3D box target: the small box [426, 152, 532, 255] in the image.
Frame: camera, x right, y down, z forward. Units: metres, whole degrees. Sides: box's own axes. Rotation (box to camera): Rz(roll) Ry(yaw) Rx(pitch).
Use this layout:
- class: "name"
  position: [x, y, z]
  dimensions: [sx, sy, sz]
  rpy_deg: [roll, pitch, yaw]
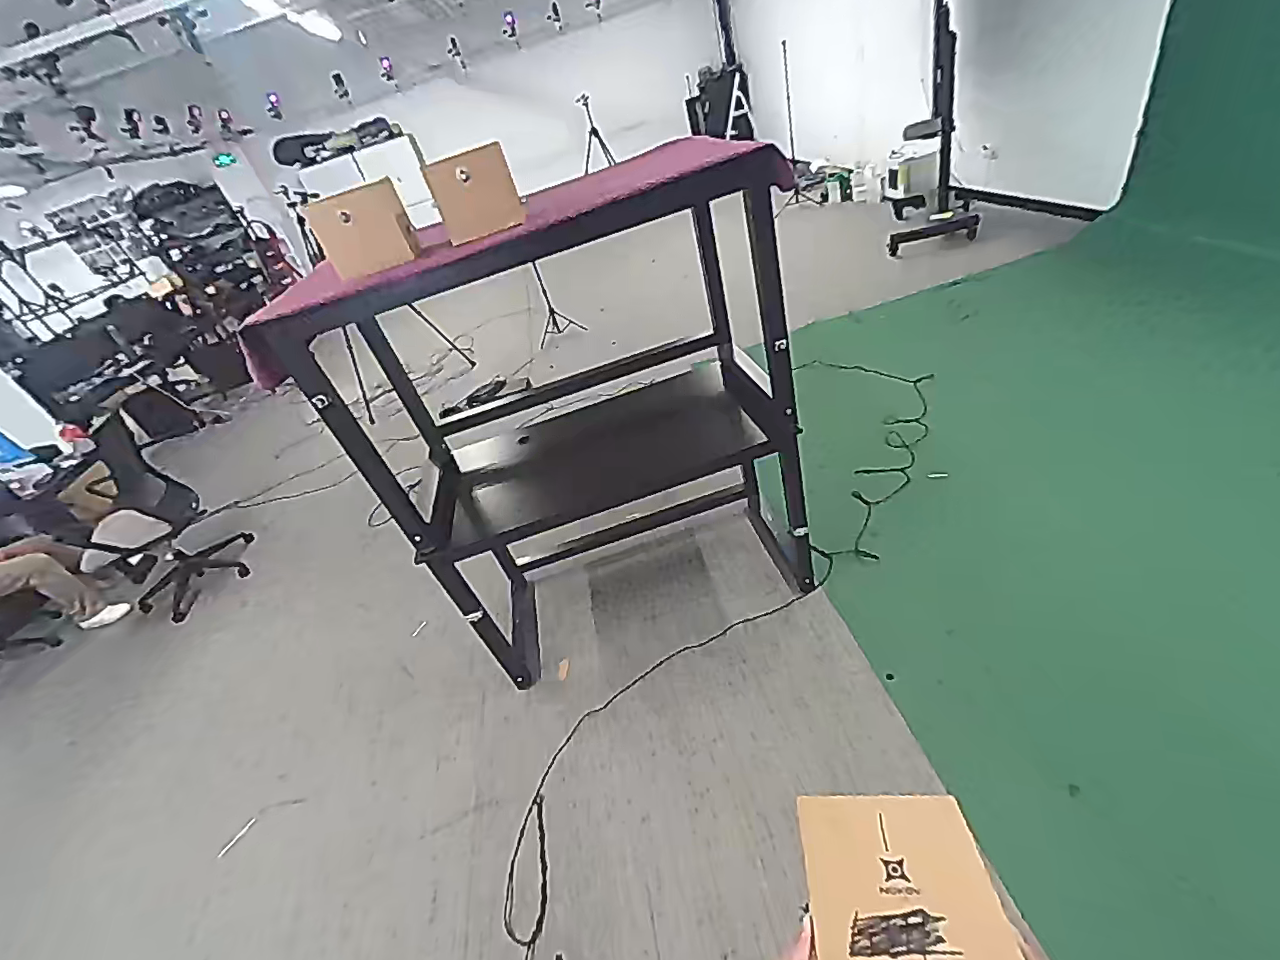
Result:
- class: "small box"
  position: [-0.365, -0.641, 1.258]
  dimensions: [0.179, 0.176, 0.168]
  rpy_deg: [-19, 34, 1]

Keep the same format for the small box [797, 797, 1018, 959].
- class: "small box"
  position: [0.256, 0.453, 0.538]
  dimensions: [0.168, 0.176, 0.179]
  rpy_deg: [-7, 22, 12]

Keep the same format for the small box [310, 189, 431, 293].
- class: "small box"
  position: [-0.620, -0.559, 1.267]
  dimensions: [0.179, 0.176, 0.168]
  rpy_deg: [-20, 35, -1]
